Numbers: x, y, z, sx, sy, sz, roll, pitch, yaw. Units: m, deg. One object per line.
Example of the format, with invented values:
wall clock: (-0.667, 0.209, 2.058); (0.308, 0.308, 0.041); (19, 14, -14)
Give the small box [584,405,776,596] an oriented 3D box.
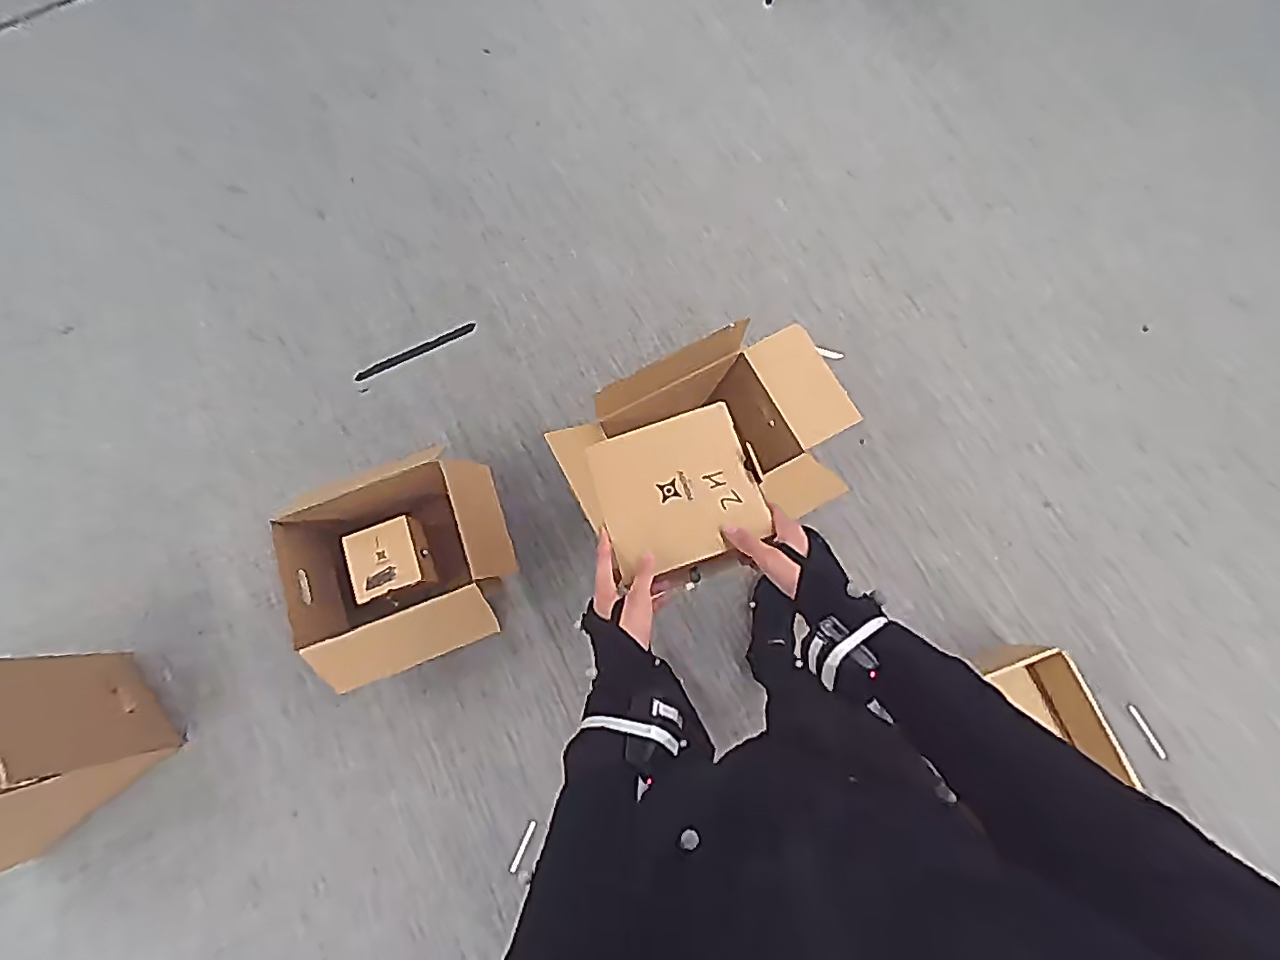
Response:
small box: (0.047, 0.036, 0.668); (0.179, 0.176, 0.168); (-18, 72, -1)
